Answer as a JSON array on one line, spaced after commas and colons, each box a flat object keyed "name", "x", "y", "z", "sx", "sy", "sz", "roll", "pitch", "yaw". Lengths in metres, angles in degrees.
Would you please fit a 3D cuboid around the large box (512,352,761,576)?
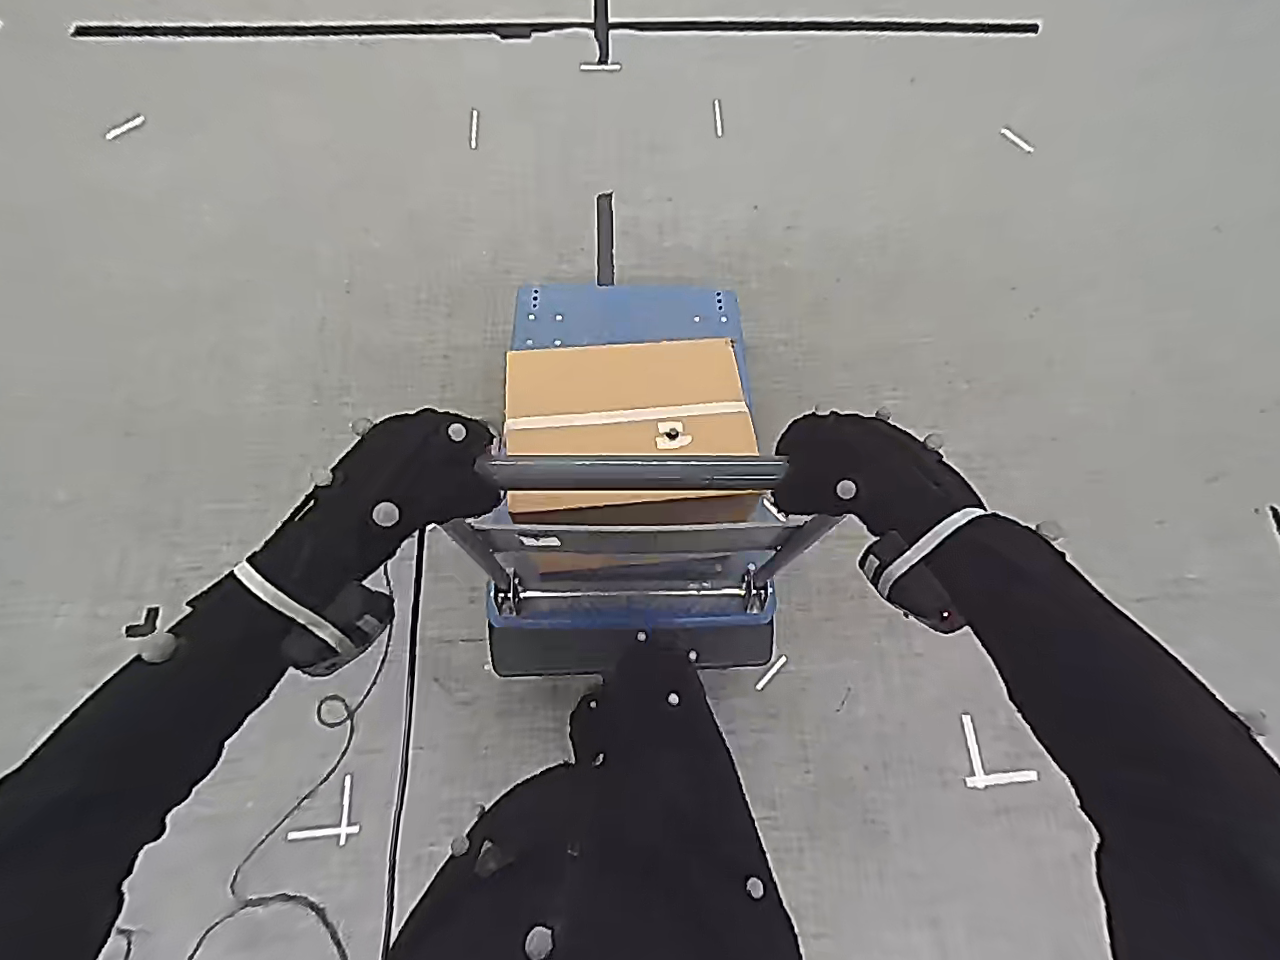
[{"name": "large box", "x": -0.025, "y": -0.021, "z": 1.054, "sx": 0.408, "sy": 0.320, "sz": 0.320, "roll": -4, "pitch": 64, "yaw": -6}]
